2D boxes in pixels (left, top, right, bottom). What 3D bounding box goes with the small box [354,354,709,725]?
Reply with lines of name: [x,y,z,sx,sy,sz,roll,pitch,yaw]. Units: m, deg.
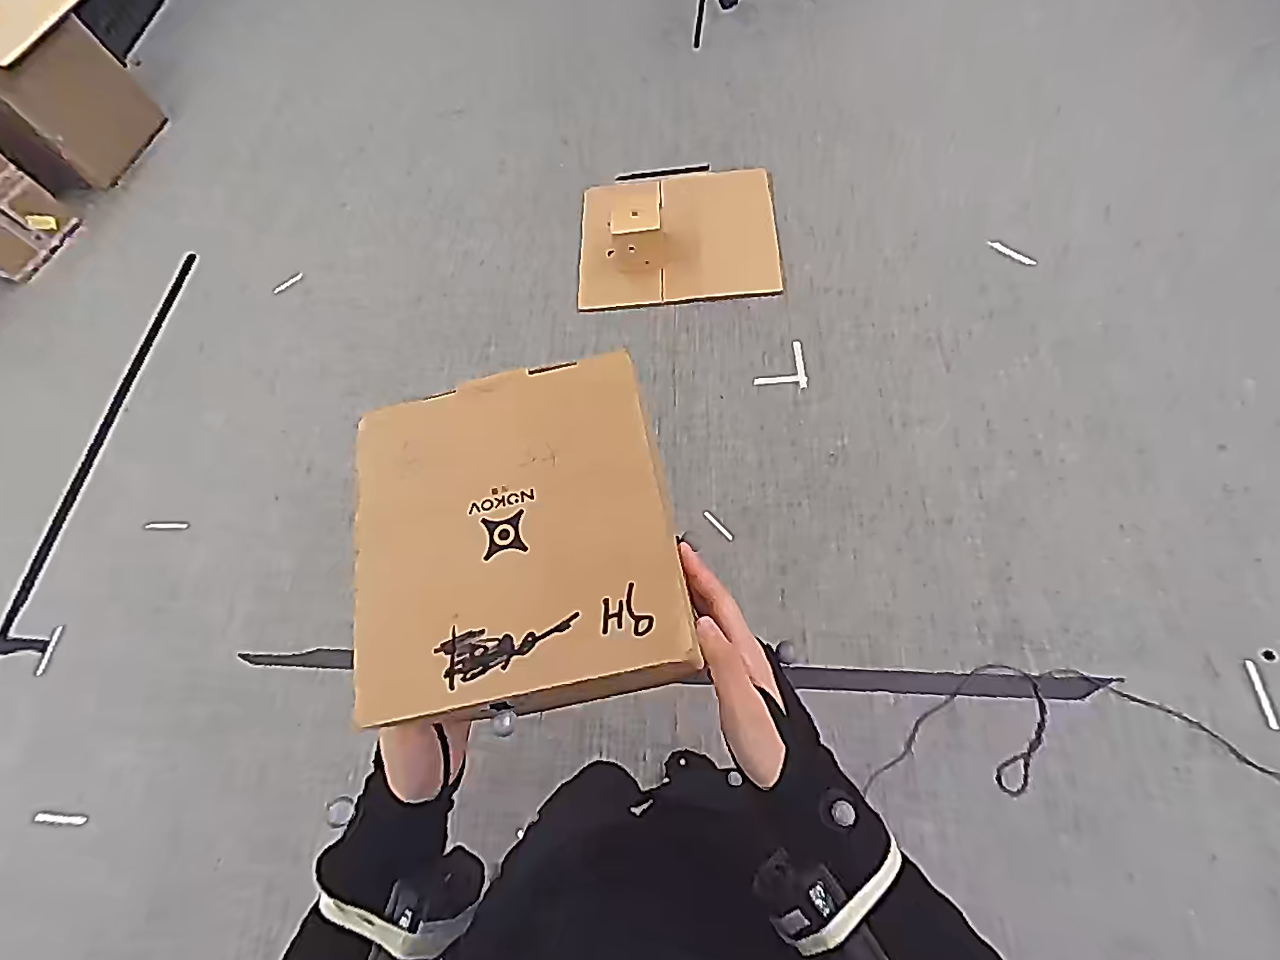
small box: [-0.055,0.052,0.352,0.168,0.176,0.179,-14,66,4]

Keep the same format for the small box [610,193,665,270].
small box: [-0.006,-0.844,1.857,0.168,0.176,0.179,-5,65,6]
